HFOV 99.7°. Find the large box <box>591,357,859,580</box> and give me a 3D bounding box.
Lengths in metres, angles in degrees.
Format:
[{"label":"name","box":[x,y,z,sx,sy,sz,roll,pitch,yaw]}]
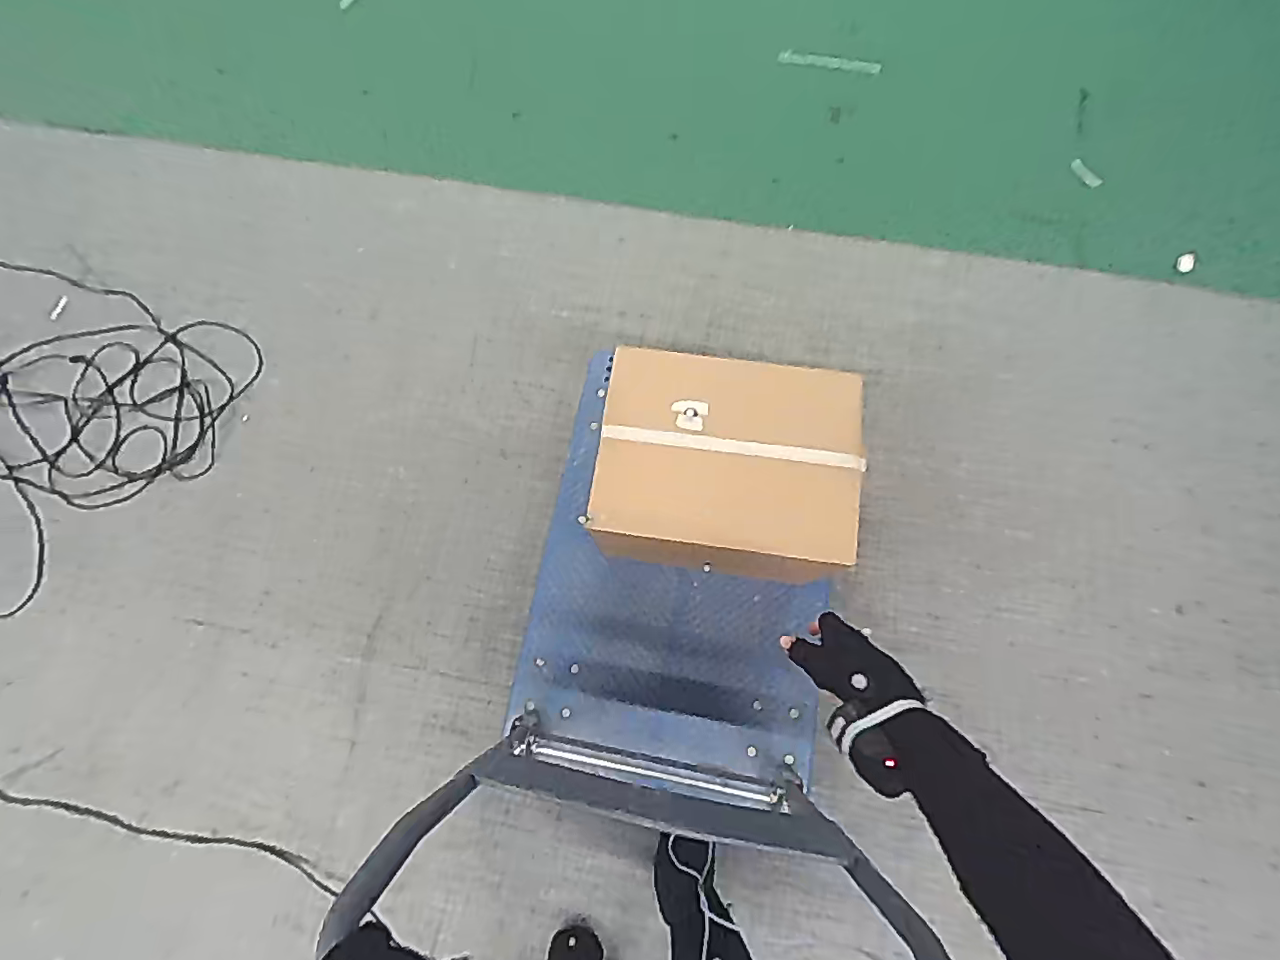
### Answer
[{"label":"large box","box":[0.148,-0.001,0.987,0.408,0.320,0.320,7,74,5]}]
